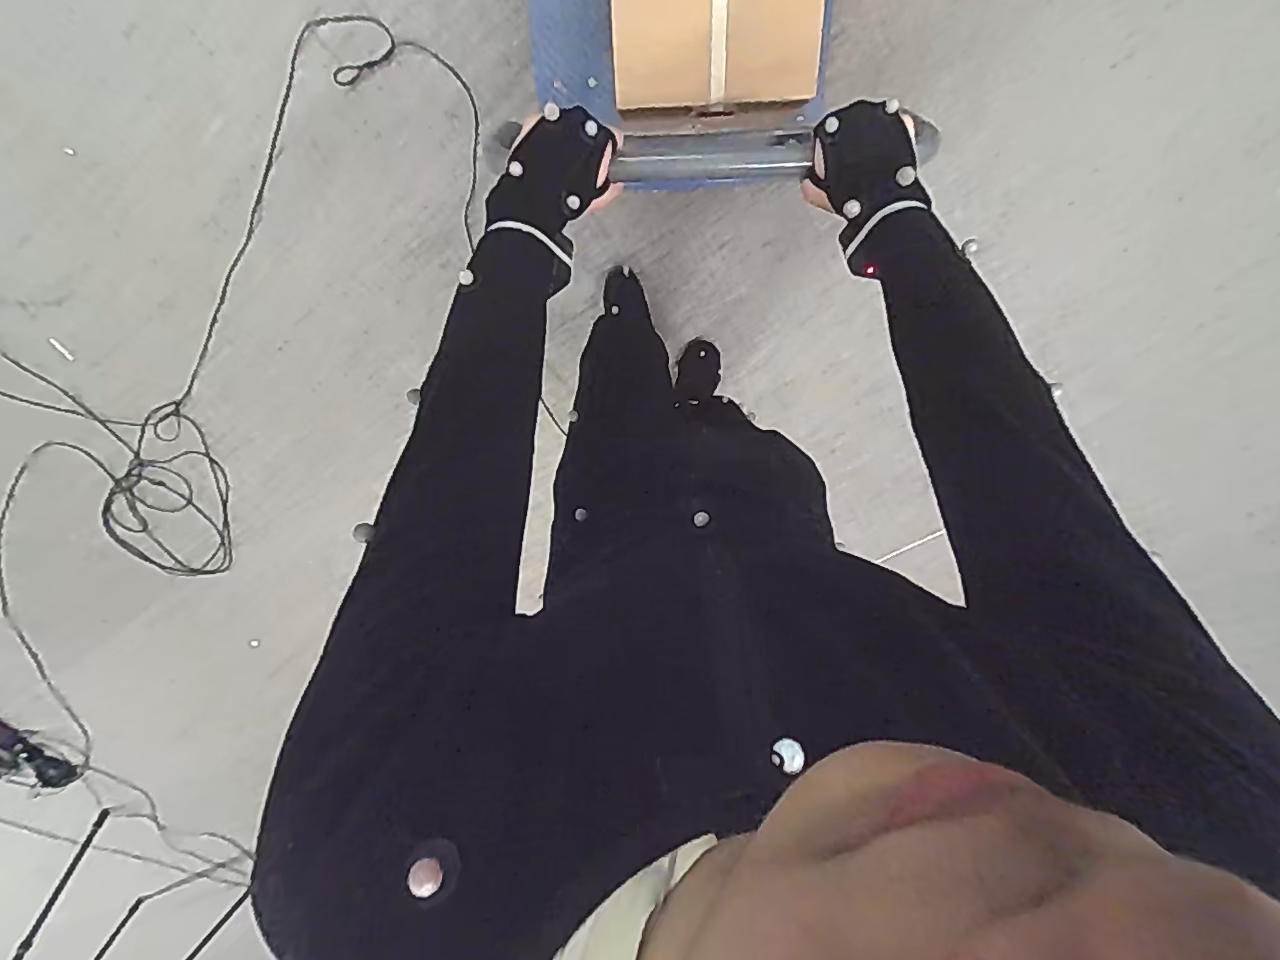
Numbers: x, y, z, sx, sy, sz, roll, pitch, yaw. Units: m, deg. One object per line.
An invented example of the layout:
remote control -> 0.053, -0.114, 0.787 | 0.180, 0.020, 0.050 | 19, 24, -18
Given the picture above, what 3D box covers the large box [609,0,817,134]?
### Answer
large box -> 0.111, -0.845, 0.910 | 0.320, 0.320, 0.408 | -1, 116, 2
